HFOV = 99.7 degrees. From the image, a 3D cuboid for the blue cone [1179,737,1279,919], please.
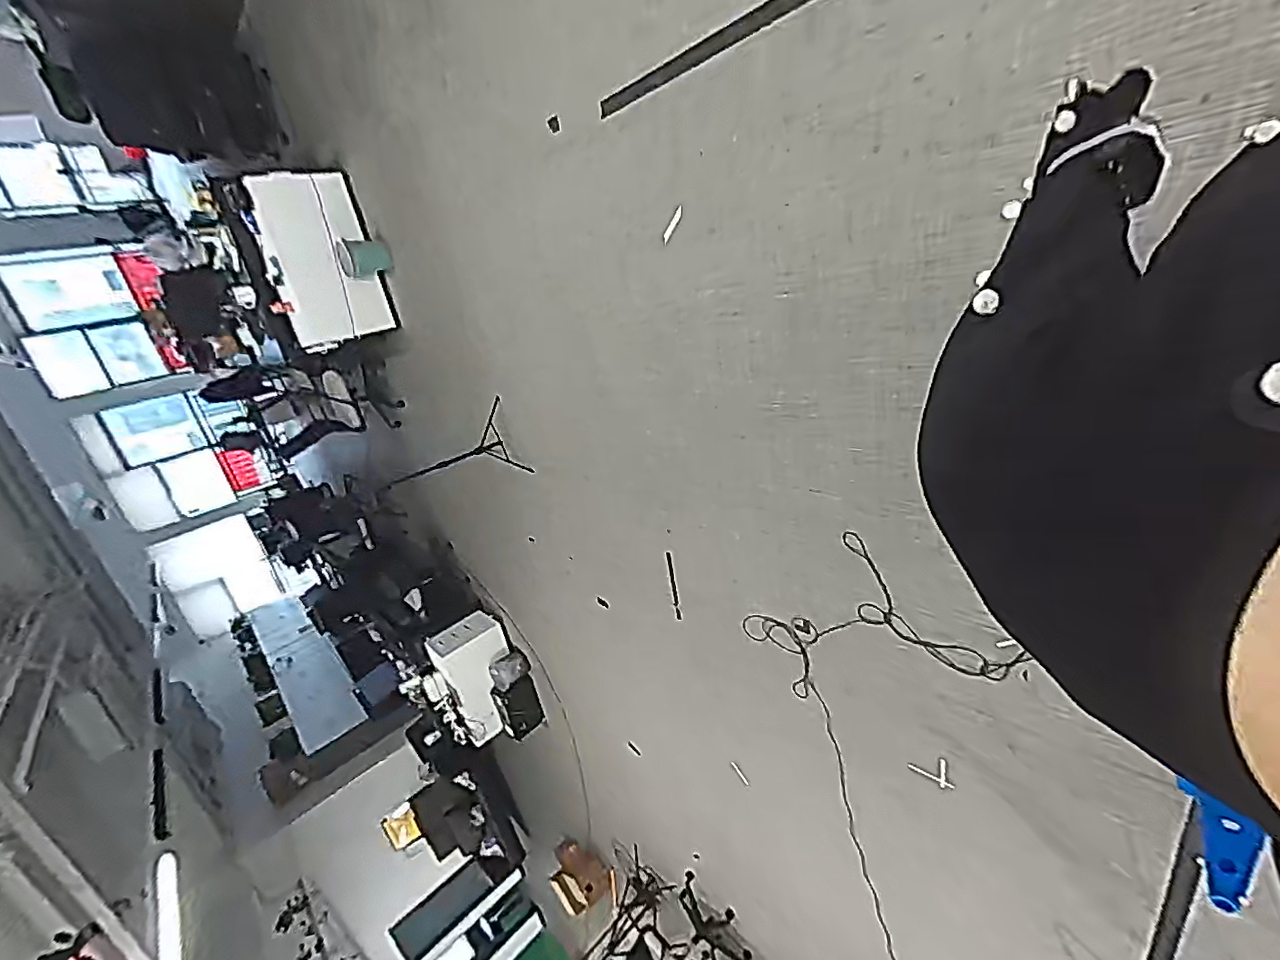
[{"bbox_3d":[1.285,0.764,1.168,0.192,0.380,0.193,7,118,47],"label":"blue cone"}]
